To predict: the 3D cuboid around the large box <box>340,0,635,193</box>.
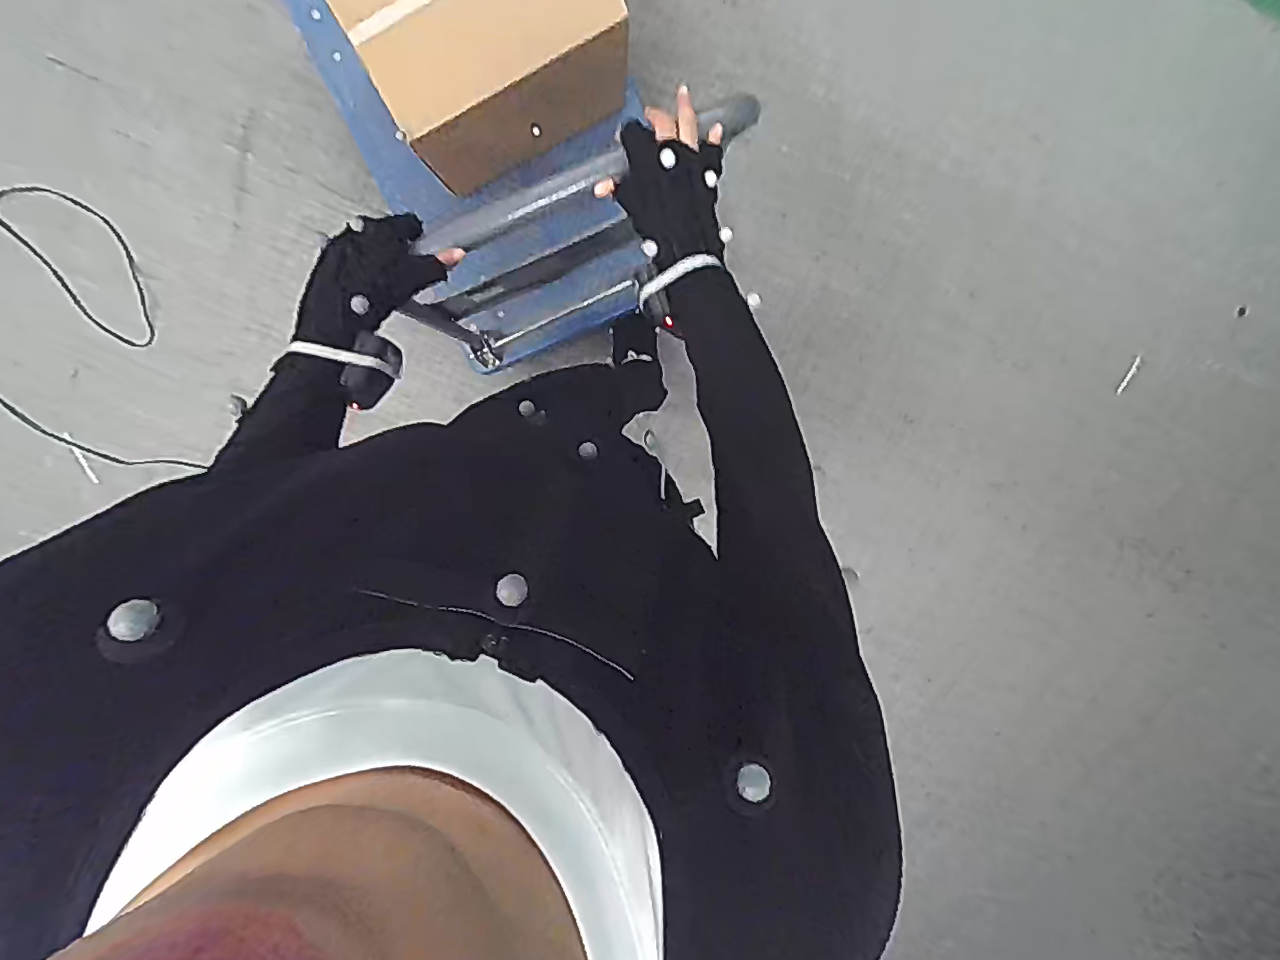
[{"bbox_3d":[-0.256,-0.803,0.980,0.408,0.320,0.320,-28,102,5],"label":"large box"}]
